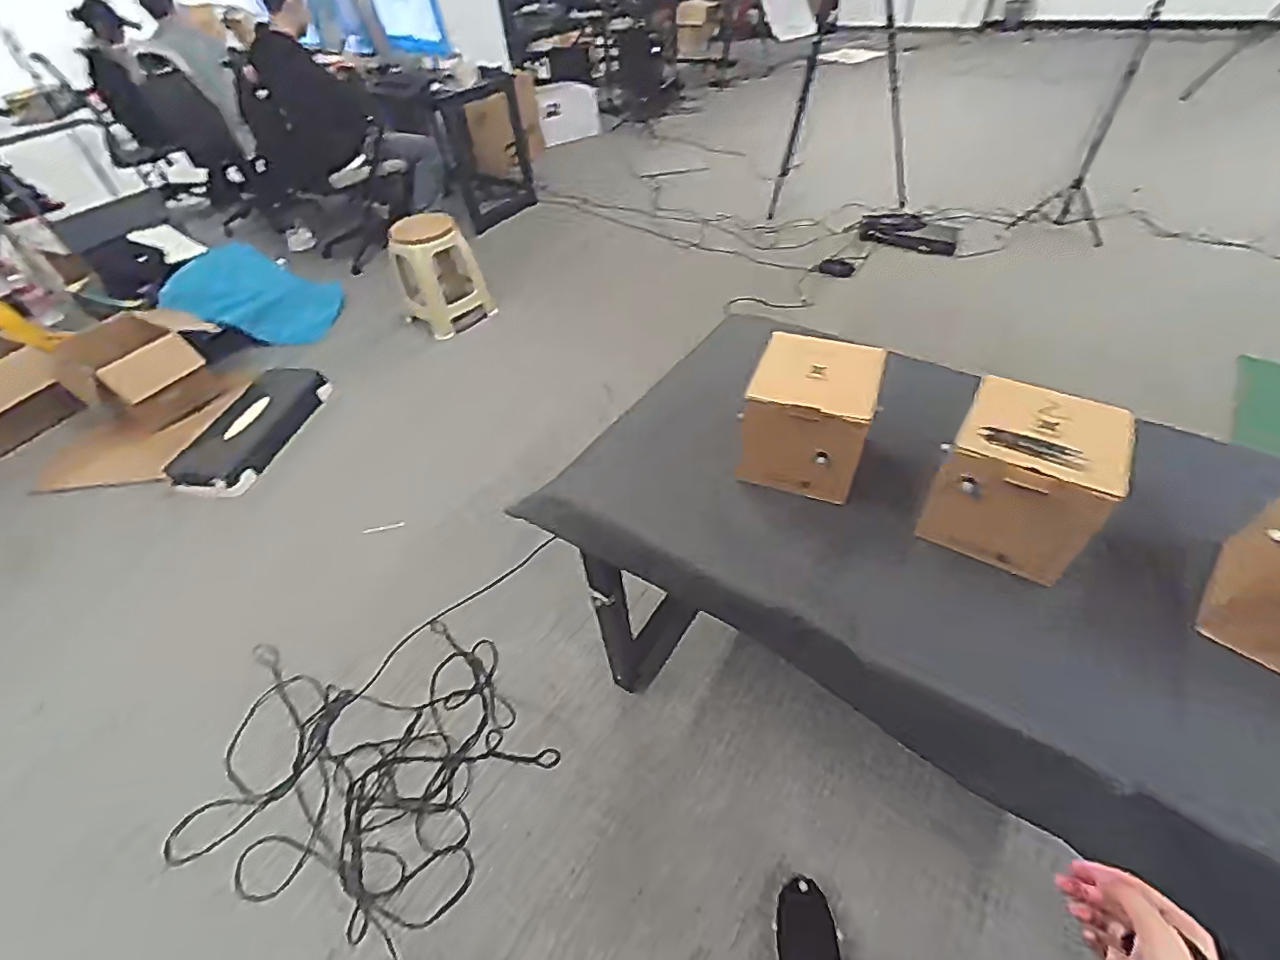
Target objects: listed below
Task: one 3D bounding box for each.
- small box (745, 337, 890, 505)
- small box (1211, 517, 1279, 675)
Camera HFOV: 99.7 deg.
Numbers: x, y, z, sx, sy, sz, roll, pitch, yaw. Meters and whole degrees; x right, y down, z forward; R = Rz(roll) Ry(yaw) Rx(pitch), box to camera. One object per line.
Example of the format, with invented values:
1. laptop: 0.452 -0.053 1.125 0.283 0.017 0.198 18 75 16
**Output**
1. small box: 0.262 -0.088 0.820 0.168 0.176 0.179 16 48 18
2. small box: 0.769 0.120 0.568 0.179 0.176 0.168 -37 54 -26
